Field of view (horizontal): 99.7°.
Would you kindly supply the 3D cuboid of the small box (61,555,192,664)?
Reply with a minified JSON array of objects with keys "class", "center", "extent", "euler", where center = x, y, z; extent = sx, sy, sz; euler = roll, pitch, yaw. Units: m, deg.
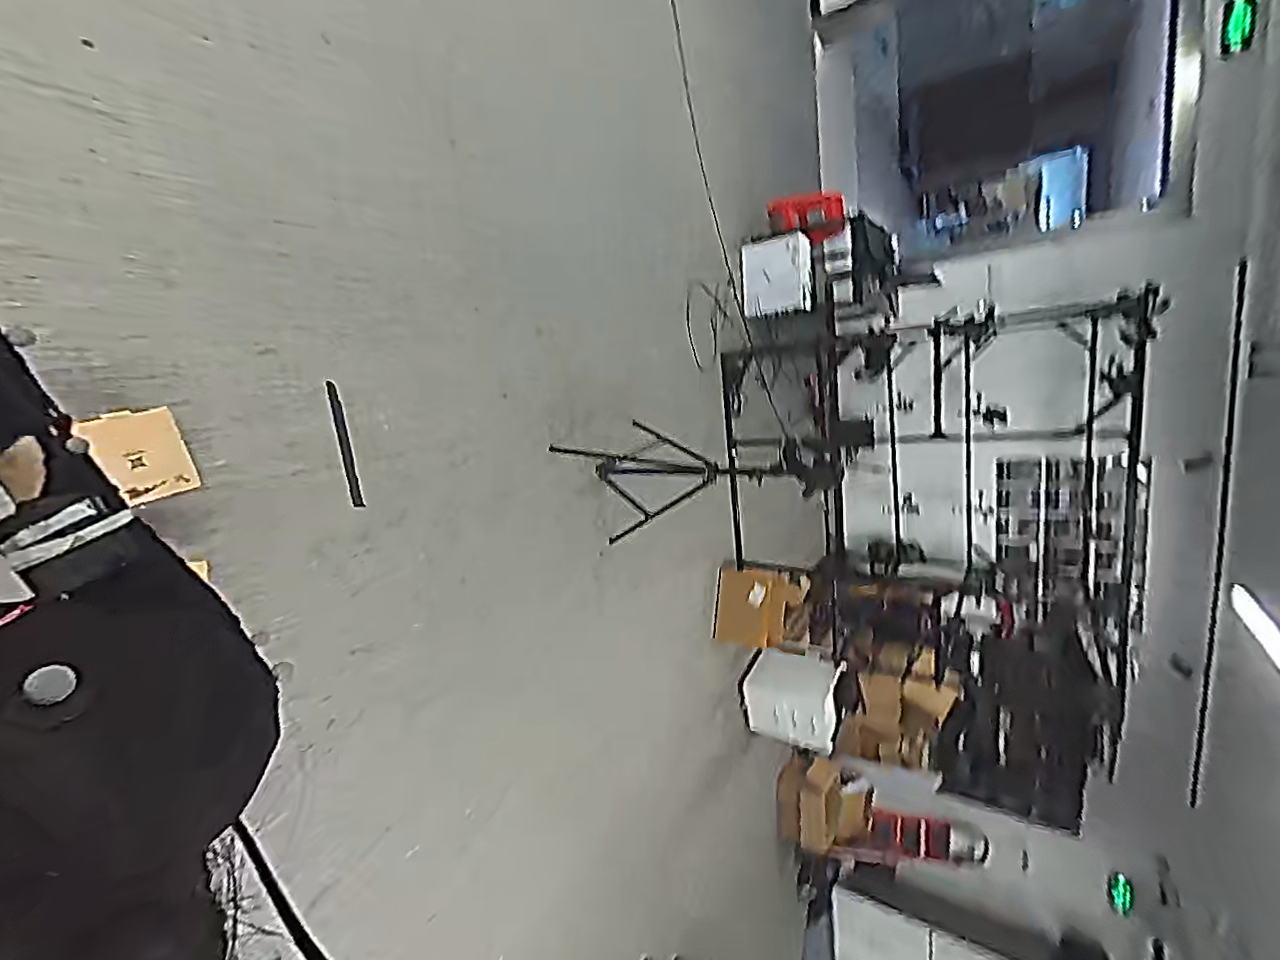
[{"class":"small box","center":[-1.051,0.255,1.108],"extent":[0.168,0.176,0.179],"euler":[0,90,-56]}]

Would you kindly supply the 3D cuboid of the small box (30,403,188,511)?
[{"class":"small box","center":[-1.061,-0.047,1.082],"extent":[0.168,0.176,0.179],"euler":[-30,115,-51]}]
